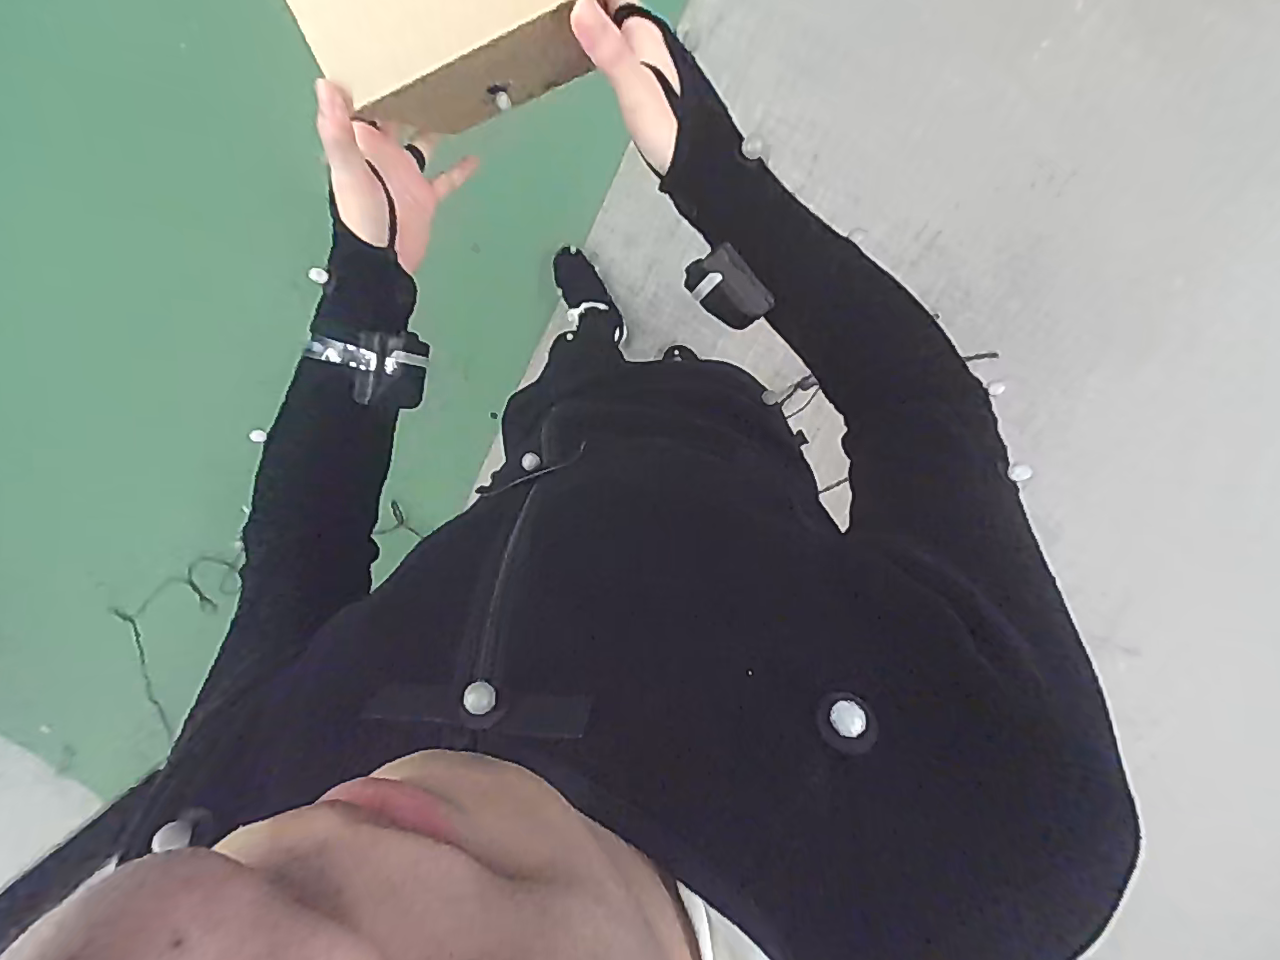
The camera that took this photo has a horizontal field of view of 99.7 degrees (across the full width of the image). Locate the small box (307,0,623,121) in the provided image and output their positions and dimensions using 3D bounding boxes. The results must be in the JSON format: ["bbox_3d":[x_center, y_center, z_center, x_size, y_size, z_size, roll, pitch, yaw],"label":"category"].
[{"bbox_3d":[-0.122,-0.368,0.364,0.168,0.176,0.179,-14,115,15],"label":"small box"}]
